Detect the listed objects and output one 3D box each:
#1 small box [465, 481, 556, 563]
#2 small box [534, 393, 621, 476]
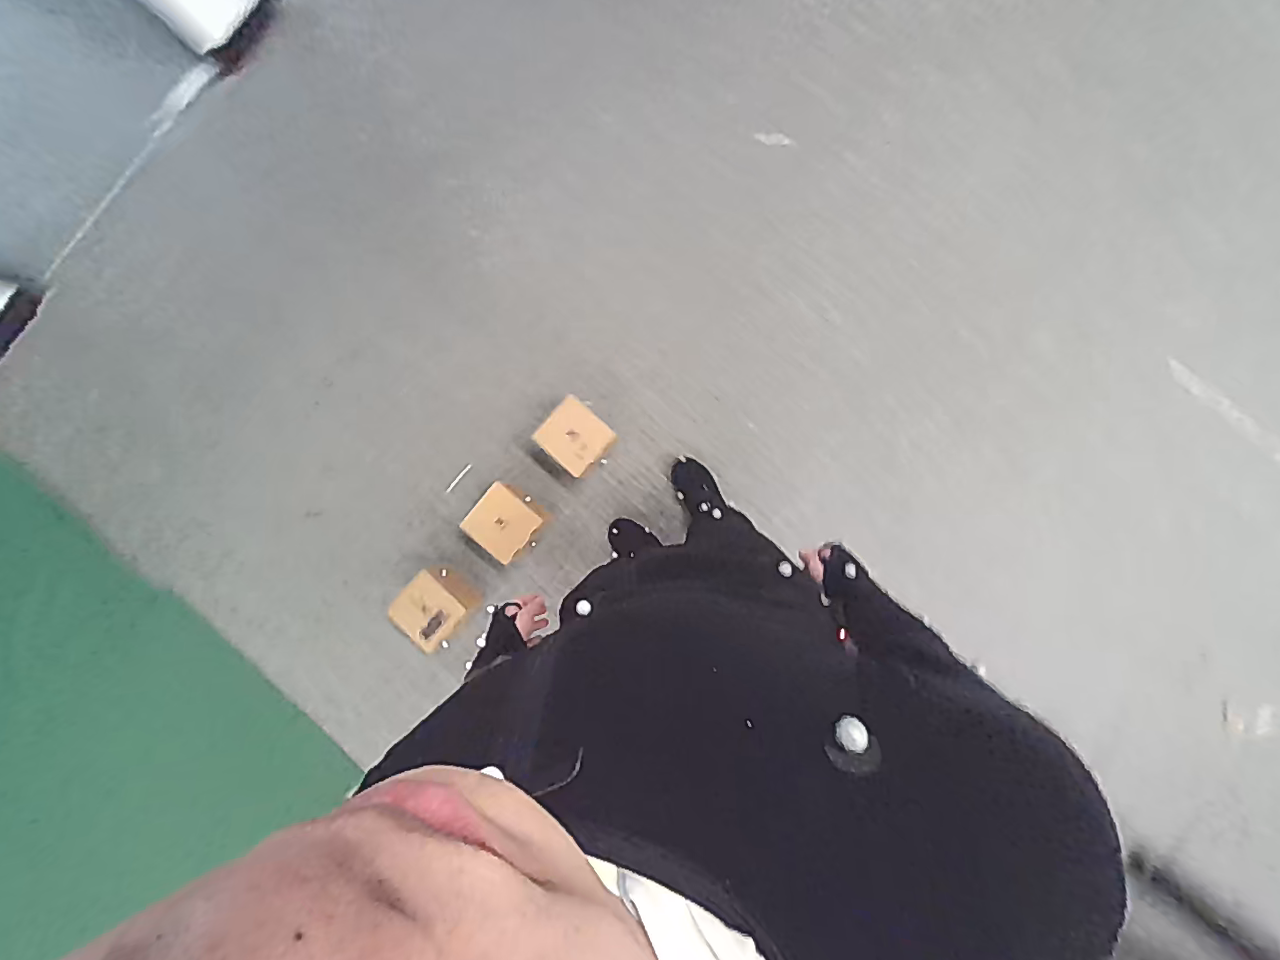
[{"bbox_3d":[-0.373,0.121,1.589,0.179,0.176,0.168,39,91,2],"label":"small box"},{"bbox_3d":[-0.175,-0.123,1.576,0.179,0.176,0.168,42,92,3],"label":"small box"}]
